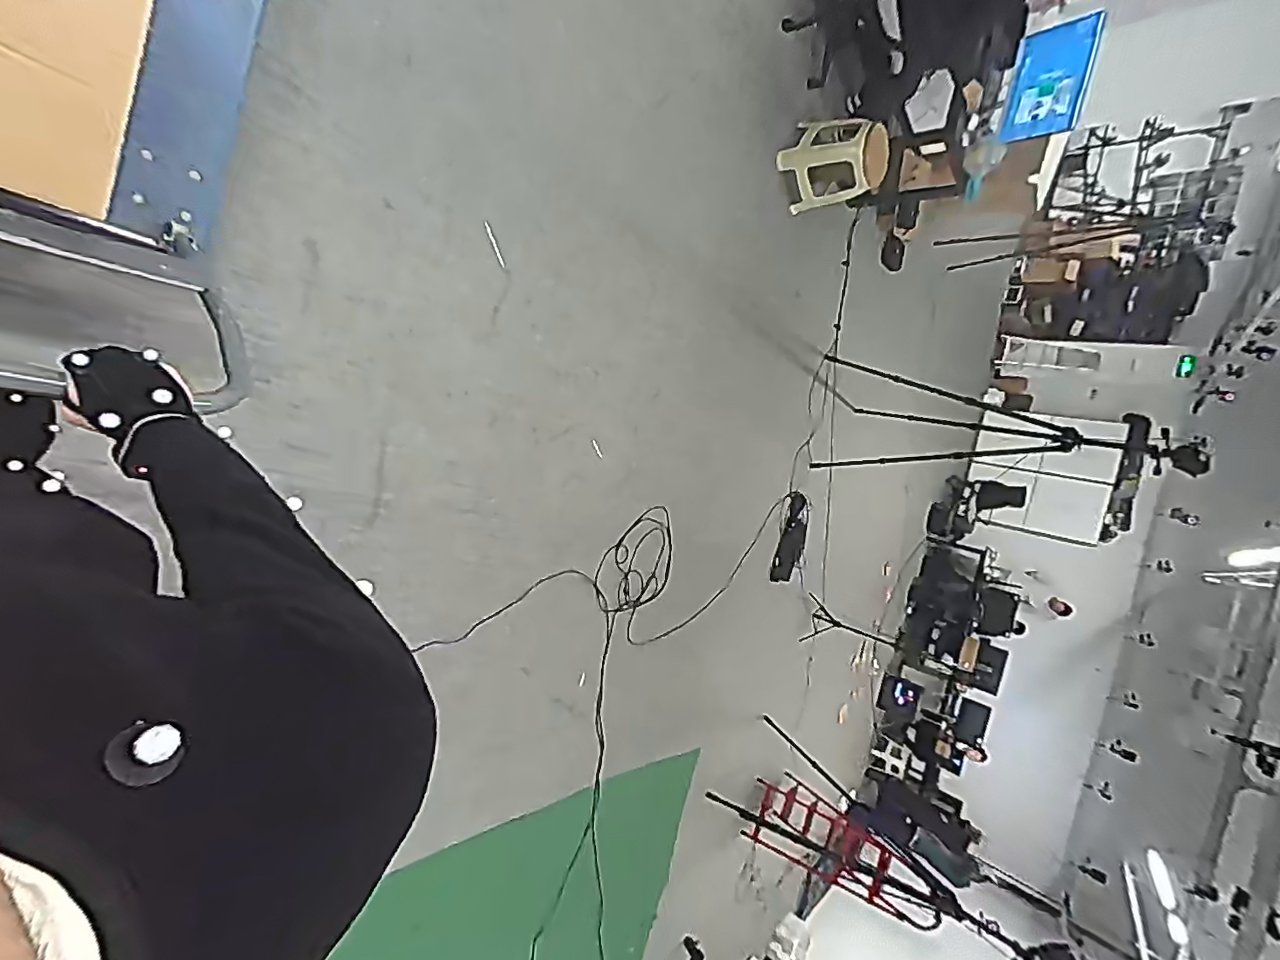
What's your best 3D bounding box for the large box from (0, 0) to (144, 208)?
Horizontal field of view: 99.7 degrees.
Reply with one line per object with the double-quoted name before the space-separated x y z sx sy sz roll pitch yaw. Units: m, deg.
"large box" -0.891 -0.646 0.708 0.320 0.320 0.408 9 112 -51
